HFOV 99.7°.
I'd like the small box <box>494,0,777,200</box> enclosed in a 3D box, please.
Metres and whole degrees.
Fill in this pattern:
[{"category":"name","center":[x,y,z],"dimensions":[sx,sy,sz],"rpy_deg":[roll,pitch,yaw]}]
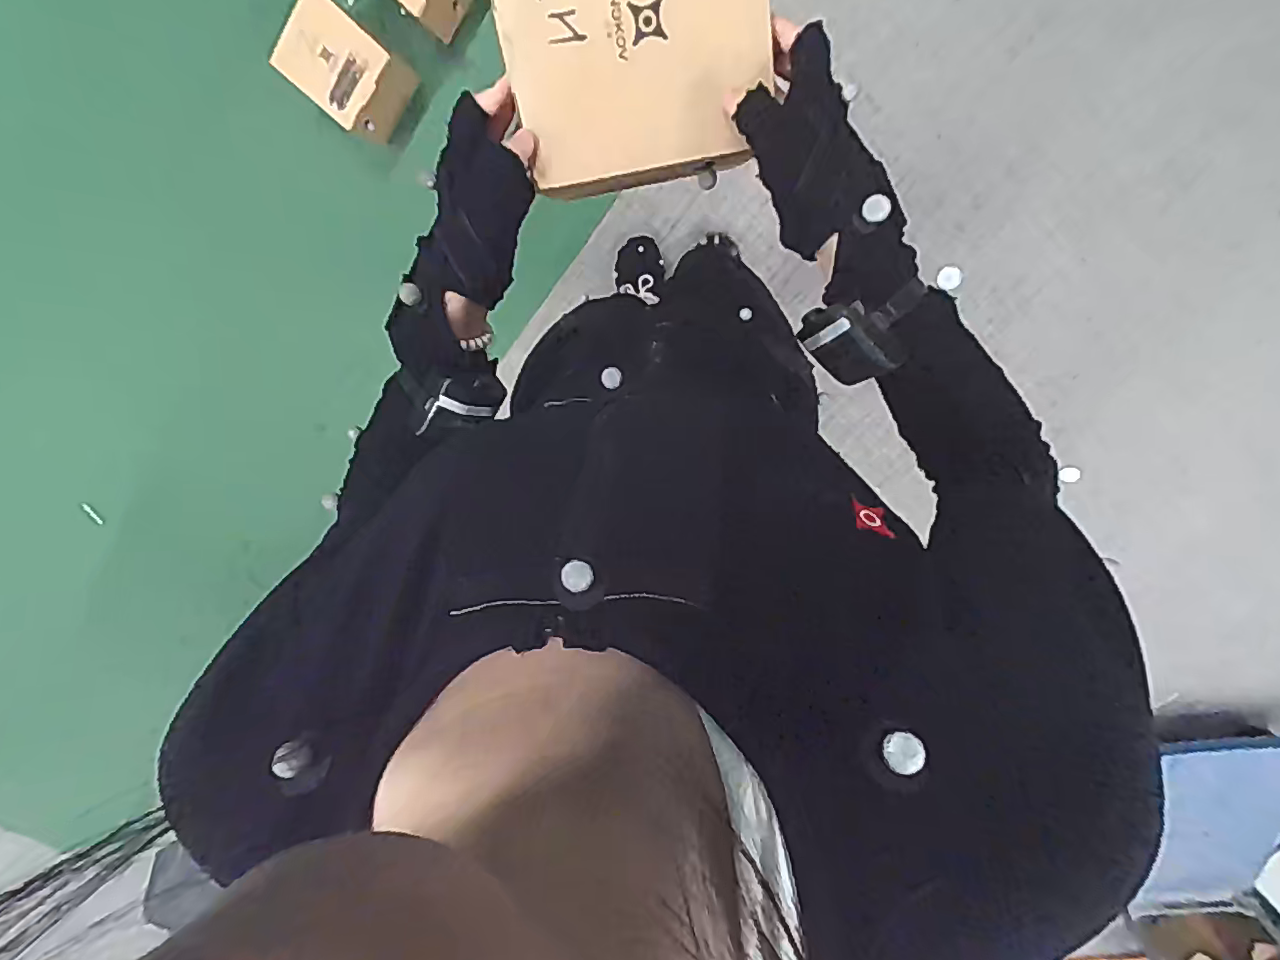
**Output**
[{"category":"small box","center":[-0.005,-0.325,0.421],"dimensions":[0.179,0.176,0.168],"rpy_deg":[-10,115,3]}]

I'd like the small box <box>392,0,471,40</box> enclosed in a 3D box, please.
[{"category":"small box","center":[-0.431,-0.999,1.032],"dimensions":[0.179,0.176,0.168],"rpy_deg":[36,109,-16]}]
